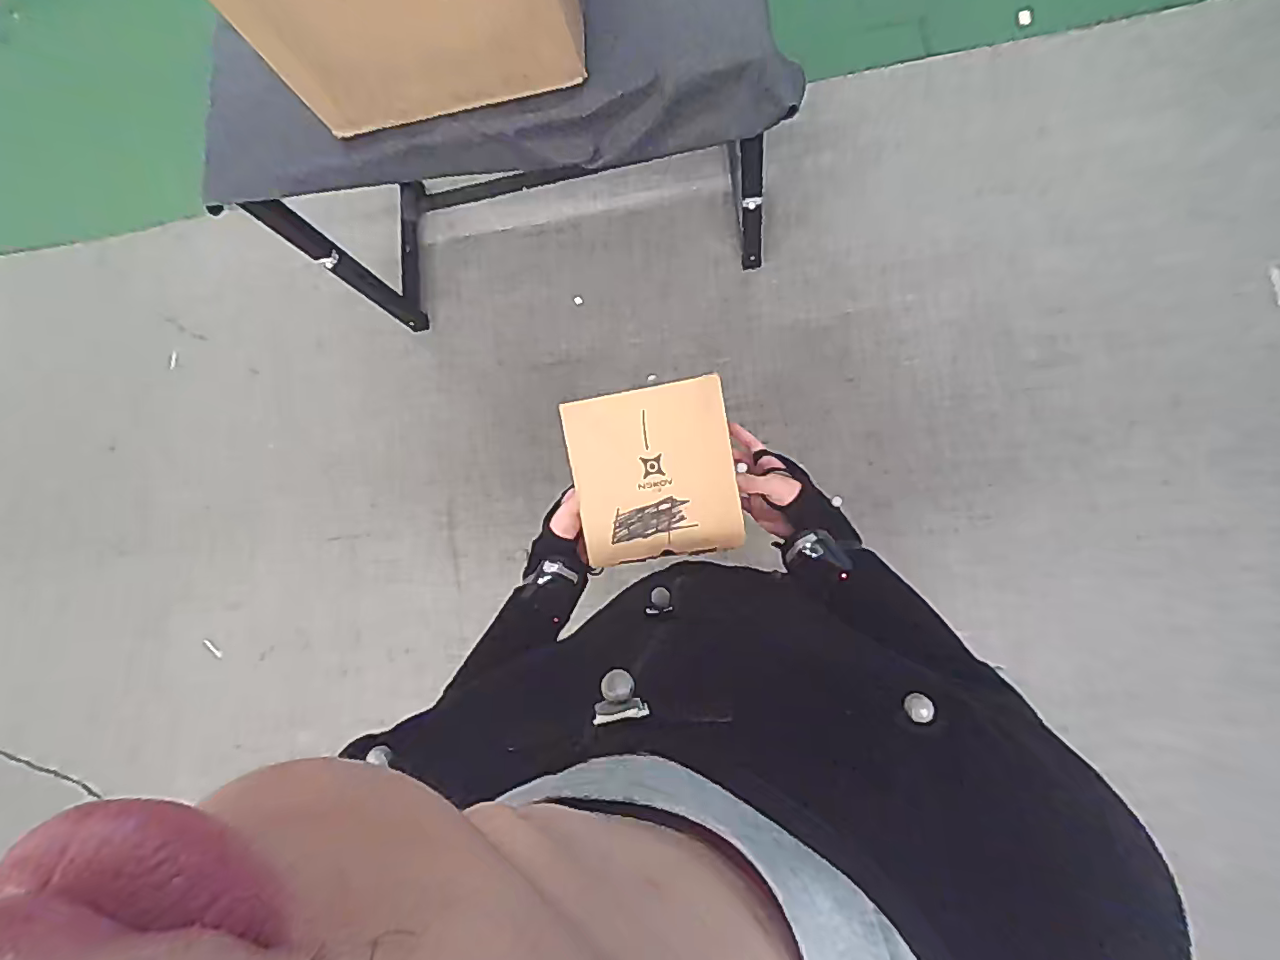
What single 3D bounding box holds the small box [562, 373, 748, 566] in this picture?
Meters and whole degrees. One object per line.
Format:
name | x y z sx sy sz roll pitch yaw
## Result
small box | 0.026 -0.018 0.621 0.168 0.176 0.179 -11 96 9
